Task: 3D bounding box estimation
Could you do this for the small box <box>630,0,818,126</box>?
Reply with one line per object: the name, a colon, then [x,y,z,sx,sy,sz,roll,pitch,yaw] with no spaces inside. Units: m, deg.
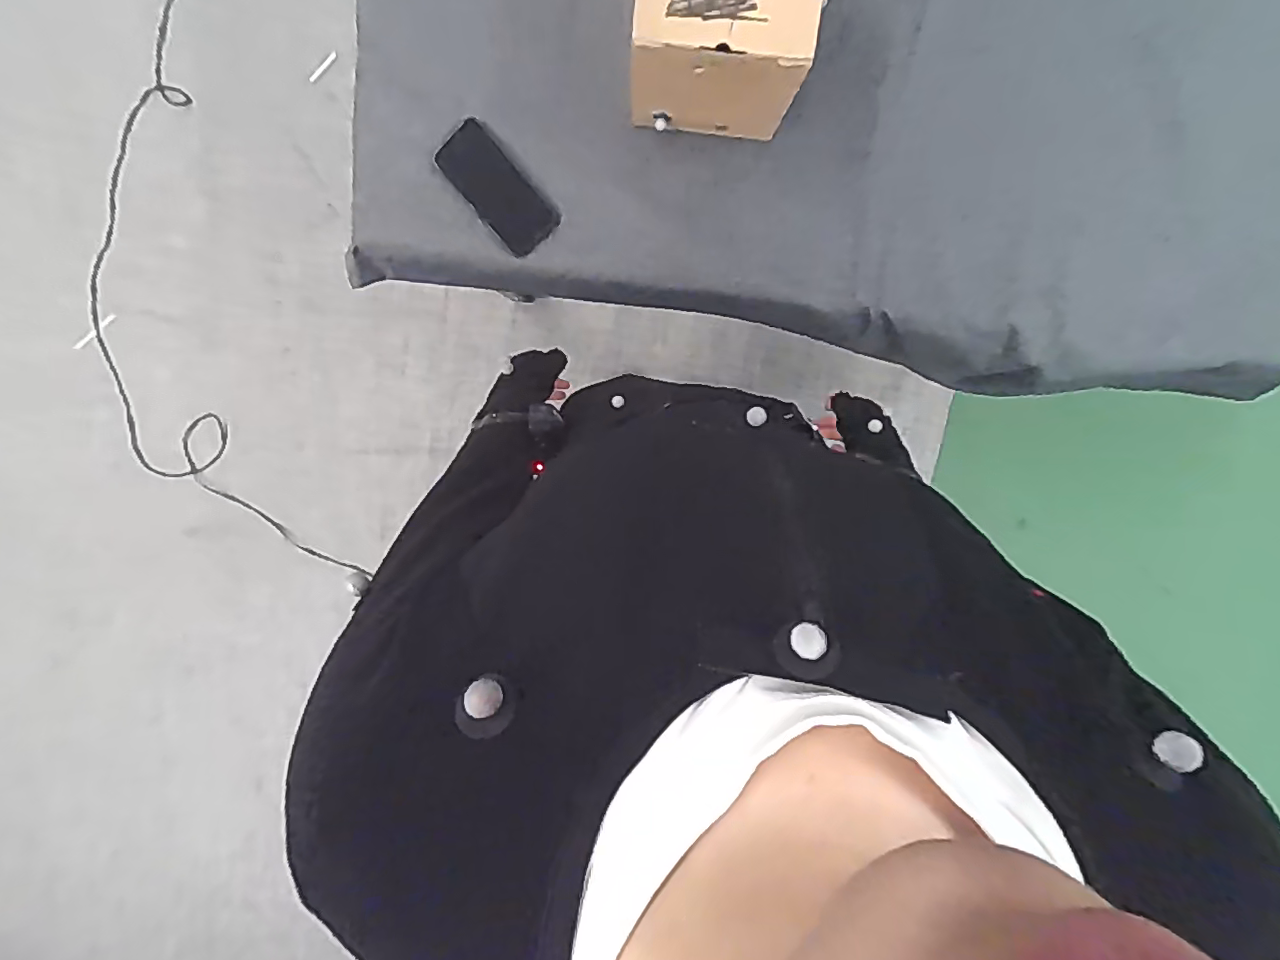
small box: [0.082,-0.490,0.542,0.168,0.176,0.179,6,101,-2]
